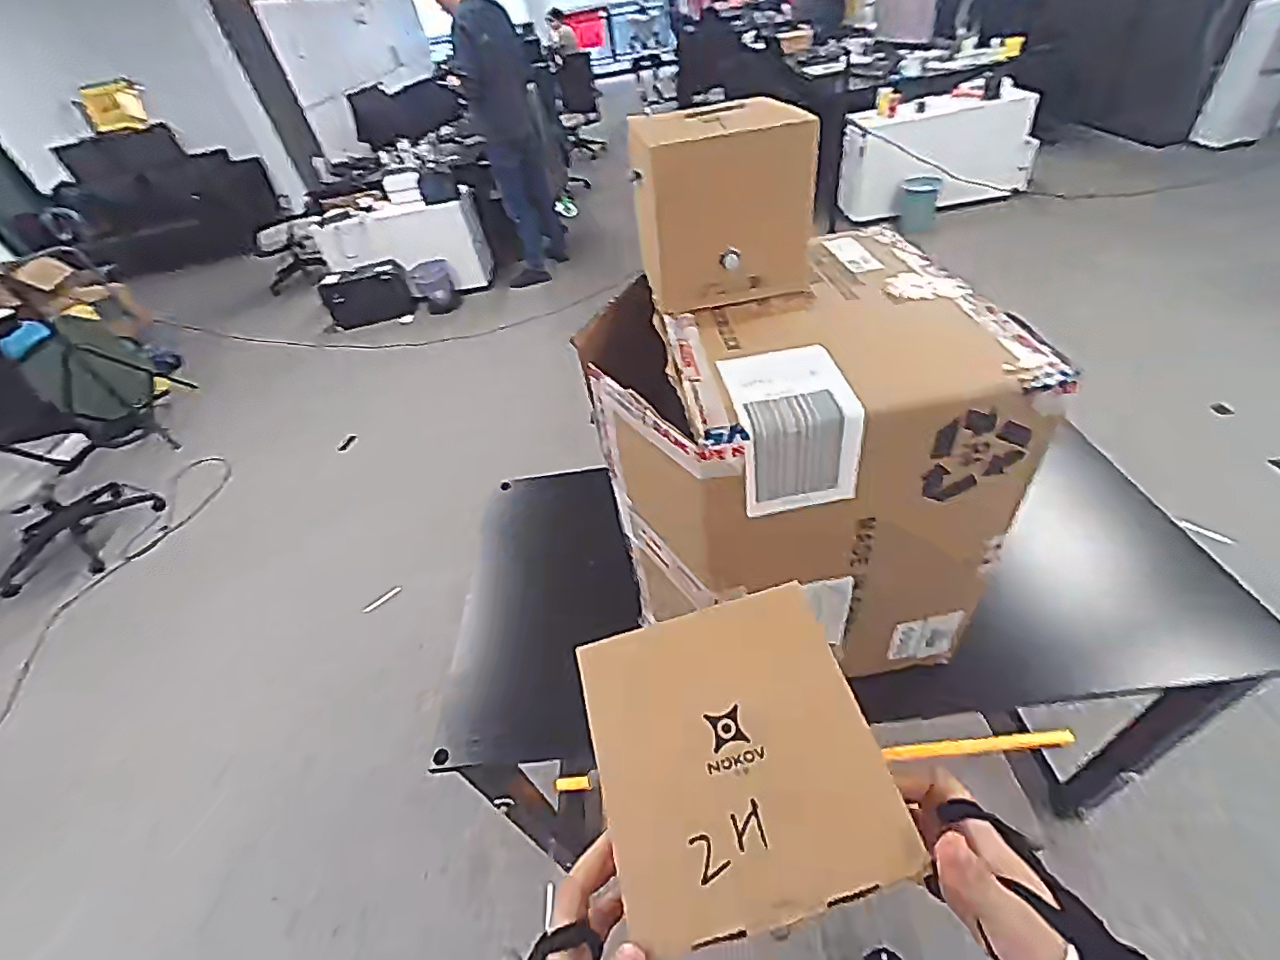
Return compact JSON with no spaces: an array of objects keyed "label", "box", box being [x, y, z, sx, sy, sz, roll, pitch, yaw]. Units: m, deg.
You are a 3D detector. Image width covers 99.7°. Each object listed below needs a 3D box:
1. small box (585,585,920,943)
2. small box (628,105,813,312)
[{"label":"small box","box":[0.067,0.209,0.405,0.168,0.176,0.179,-16,54,-1]},{"label":"small box","box":[0.084,-0.315,0.626,0.168,0.176,0.179,-11,41,-1]}]
